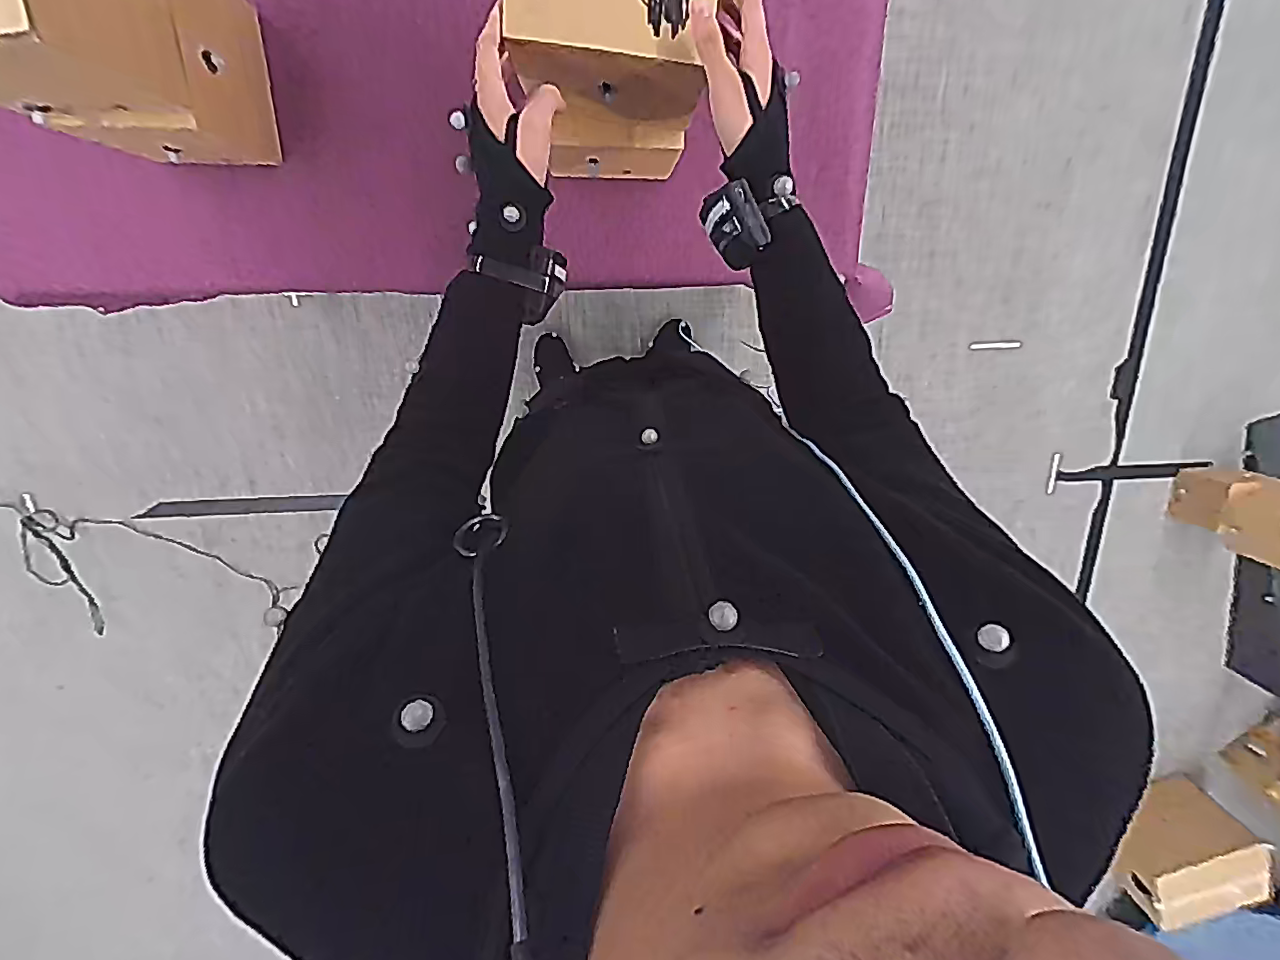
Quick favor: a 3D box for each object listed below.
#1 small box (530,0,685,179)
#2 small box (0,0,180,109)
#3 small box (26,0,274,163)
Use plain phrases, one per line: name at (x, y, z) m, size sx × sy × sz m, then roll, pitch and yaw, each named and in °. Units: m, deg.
small box at (-0.038, -0.480, 0.658) m, size 0.168 × 0.176 × 0.179 m, roll 0°, pitch 107°, yaw -3°
small box at (-0.550, -0.438, 0.459) m, size 0.168 × 0.176 × 0.179 m, roll -4°, pitch 108°, yaw -3°
small box at (-0.557, -0.478, 0.618) m, size 0.168 × 0.176 × 0.179 m, roll 0°, pitch 108°, yaw -5°
